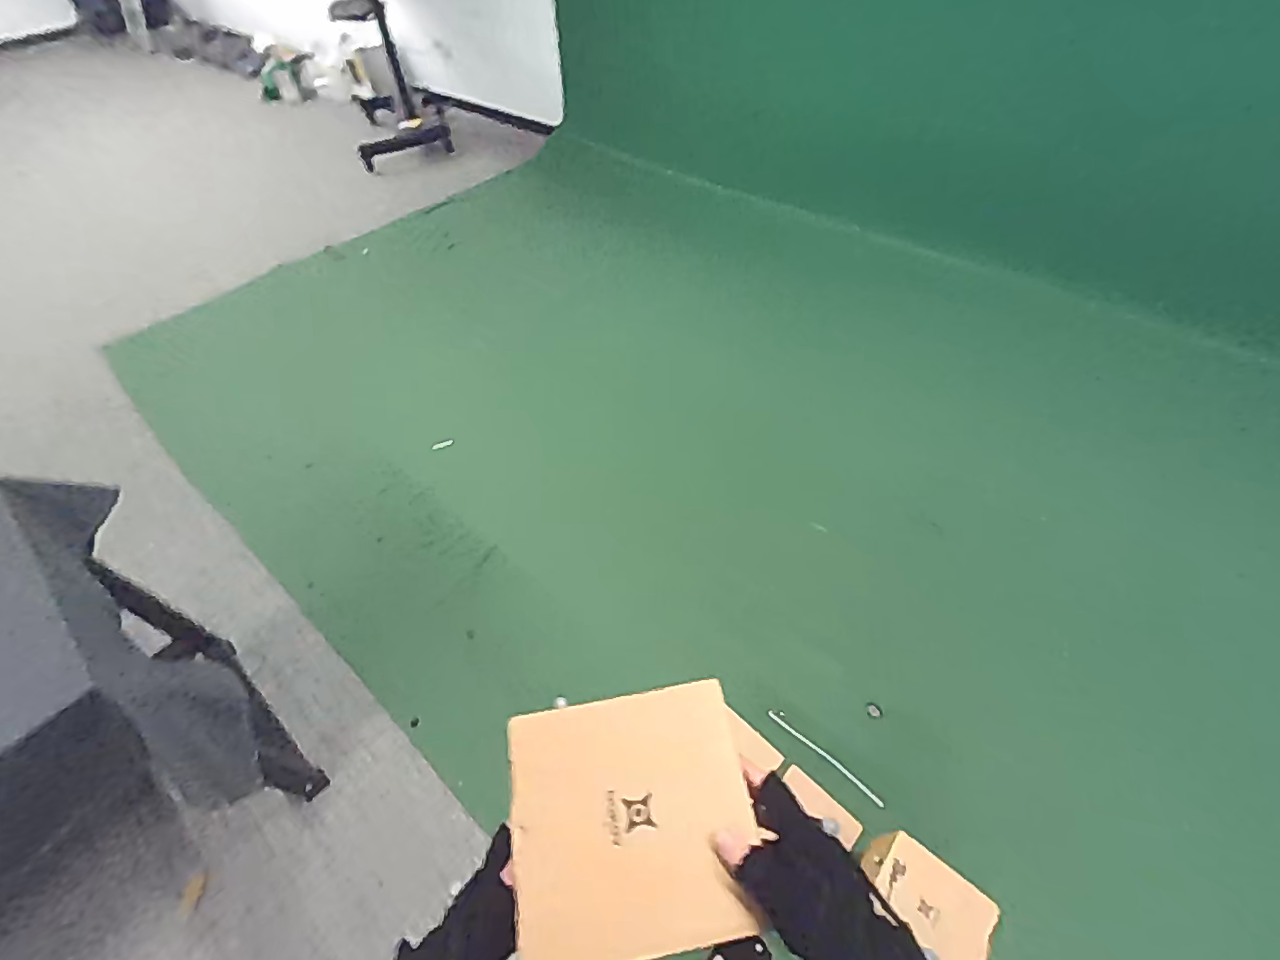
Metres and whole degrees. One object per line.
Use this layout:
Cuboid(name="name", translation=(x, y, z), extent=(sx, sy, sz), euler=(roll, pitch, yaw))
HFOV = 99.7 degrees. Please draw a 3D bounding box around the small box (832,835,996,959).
Cuboid(name="small box", translation=(0.472, 0.769, 0.952), extent=(0.179, 0.176, 0.168), euler=(34, 59, 25))
